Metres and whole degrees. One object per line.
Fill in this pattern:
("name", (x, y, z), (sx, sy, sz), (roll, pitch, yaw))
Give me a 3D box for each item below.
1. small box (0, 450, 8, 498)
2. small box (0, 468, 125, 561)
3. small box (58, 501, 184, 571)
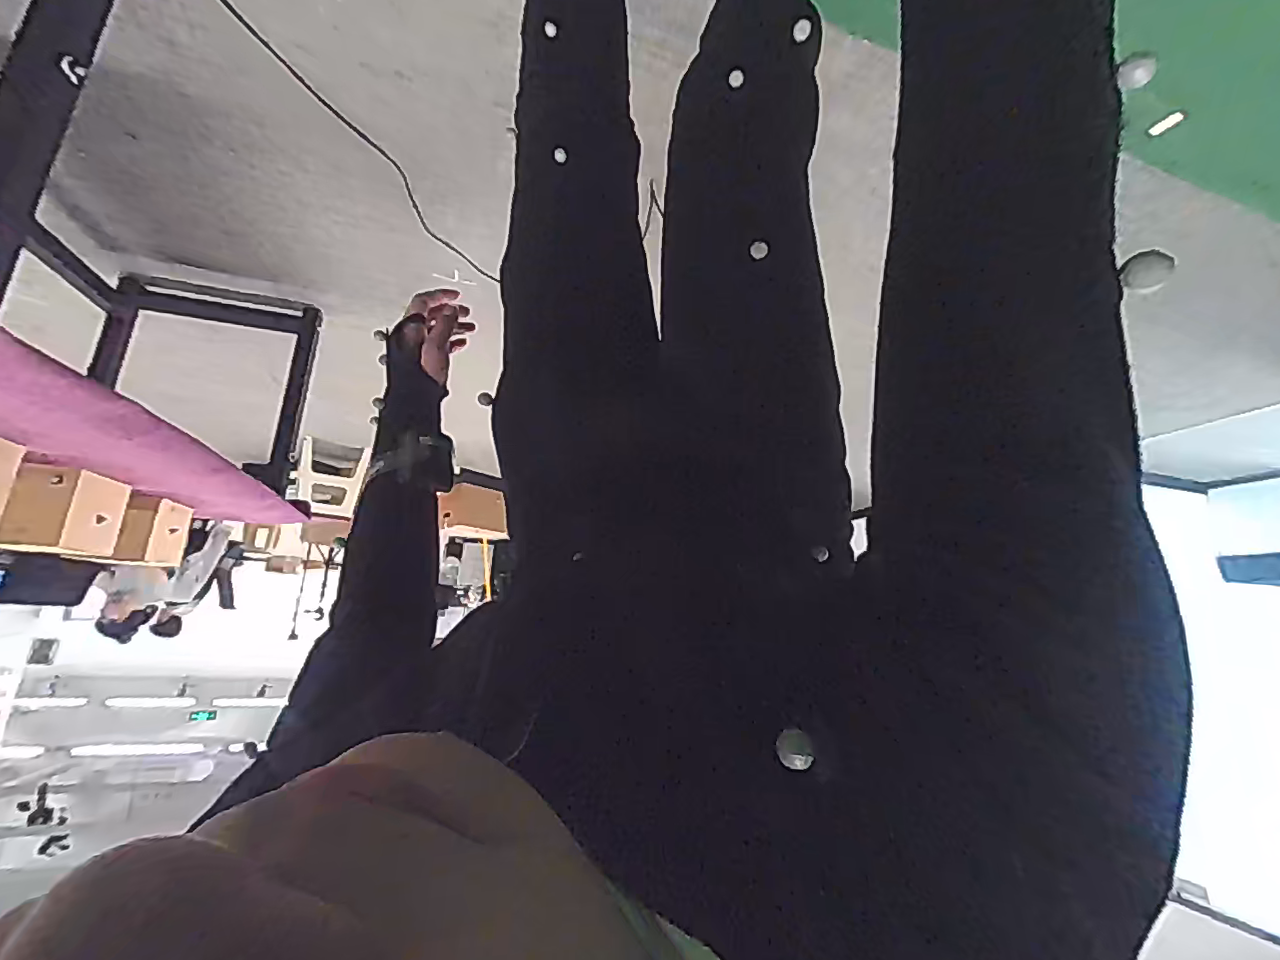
("small box", (-1.164, -0.001, 0.843), (0.179, 0.176, 0.168), (7, 164, -16))
("small box", (-1.253, 0.076, 1.141), (0.168, 0.176, 0.179), (7, 165, -15))
("small box", (-1.337, 0.145, 1.411), (0.179, 0.176, 0.168), (6, 164, -15))
